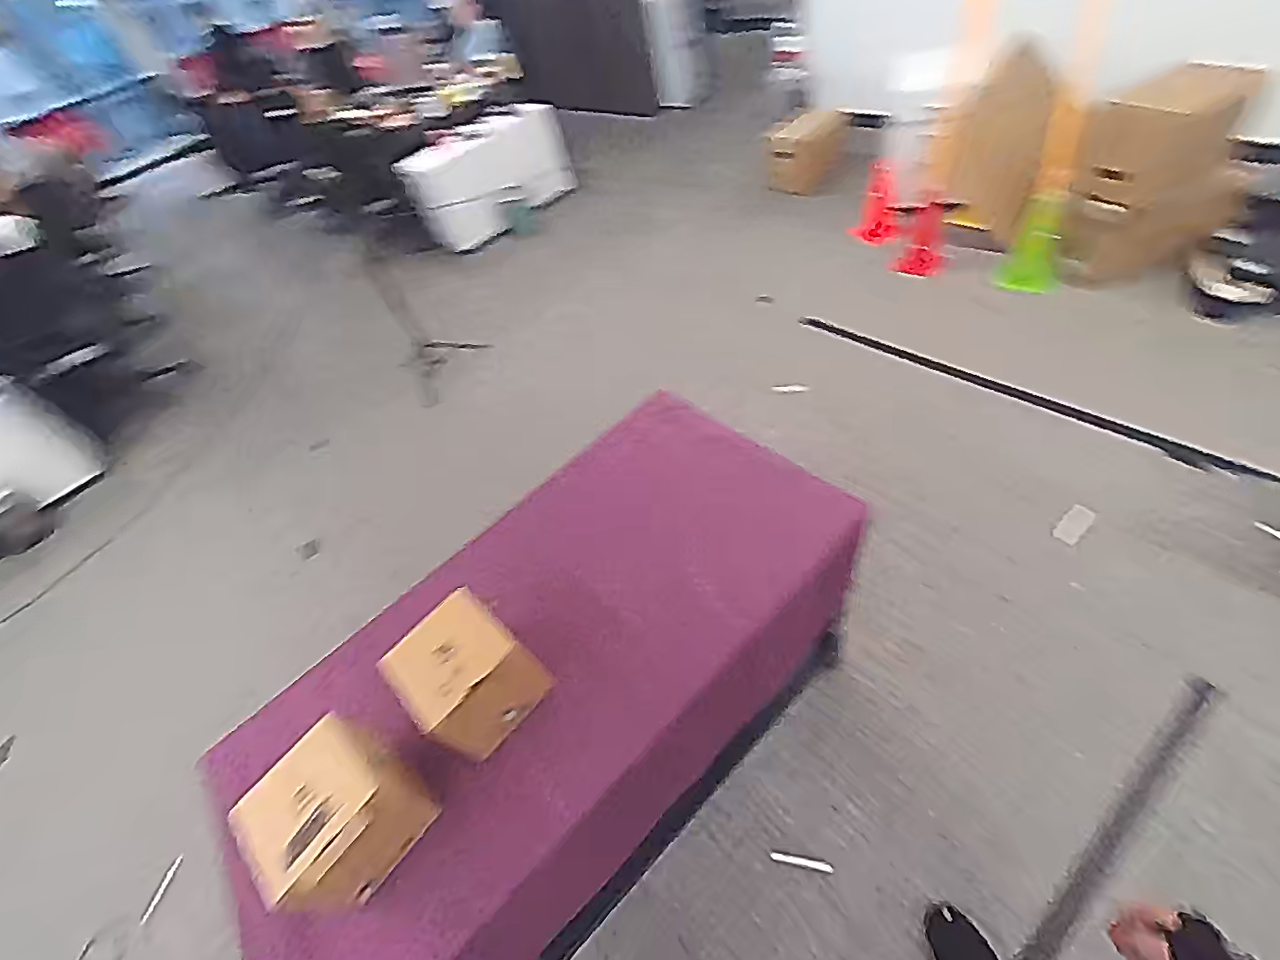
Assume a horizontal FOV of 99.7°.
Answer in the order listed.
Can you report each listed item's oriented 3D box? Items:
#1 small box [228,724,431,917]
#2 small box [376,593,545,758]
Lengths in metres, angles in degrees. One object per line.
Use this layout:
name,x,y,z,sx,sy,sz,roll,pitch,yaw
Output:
small box,-0.453,0.507,0.810,0.179,0.176,0.168,25,62,34
small box,-0.293,0.330,0.906,0.179,0.176,0.168,30,66,35
